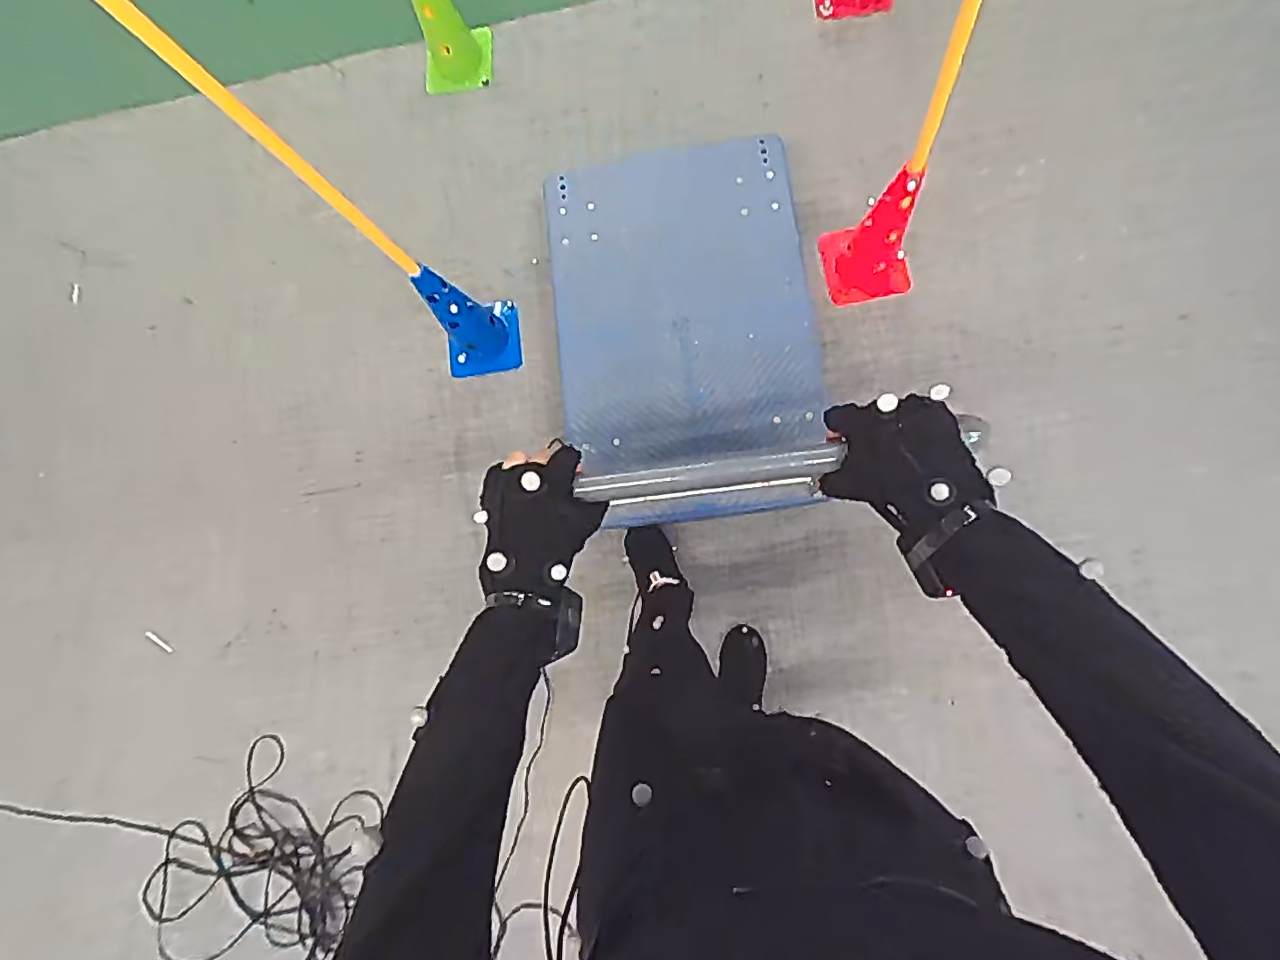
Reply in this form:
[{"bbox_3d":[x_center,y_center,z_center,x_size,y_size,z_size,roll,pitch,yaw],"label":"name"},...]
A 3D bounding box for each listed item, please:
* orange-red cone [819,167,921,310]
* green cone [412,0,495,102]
[{"bbox_3d":[0.548,-0.562,1.217,0.199,0.360,0.198,-9,80,7],"label":"orange-red cone"},{"bbox_3d":[-0.550,-1.258,1.446,0.202,0.368,0.200,-4,81,7],"label":"green cone"}]
